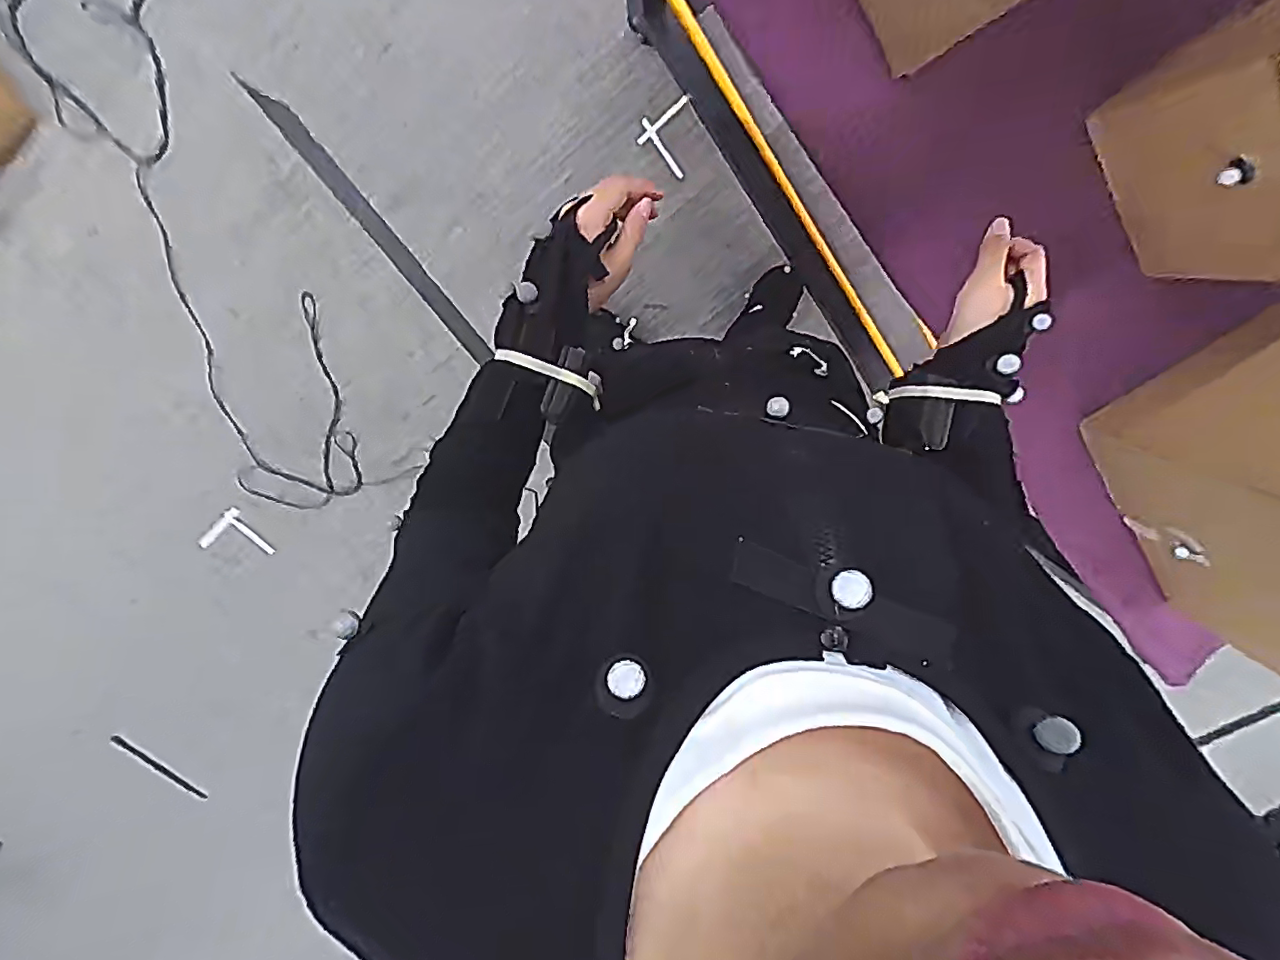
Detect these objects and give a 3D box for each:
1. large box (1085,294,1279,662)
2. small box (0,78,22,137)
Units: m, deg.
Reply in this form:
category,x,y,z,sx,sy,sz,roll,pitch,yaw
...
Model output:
category,x,y,z,sx,sy,sz,roll,pitch,yaw
large box,0.734,-0.020,0.460,0.408,0.320,0.320,-37,108,12
small box,-1.374,-0.762,1.035,0.179,0.176,0.168,-30,108,12
